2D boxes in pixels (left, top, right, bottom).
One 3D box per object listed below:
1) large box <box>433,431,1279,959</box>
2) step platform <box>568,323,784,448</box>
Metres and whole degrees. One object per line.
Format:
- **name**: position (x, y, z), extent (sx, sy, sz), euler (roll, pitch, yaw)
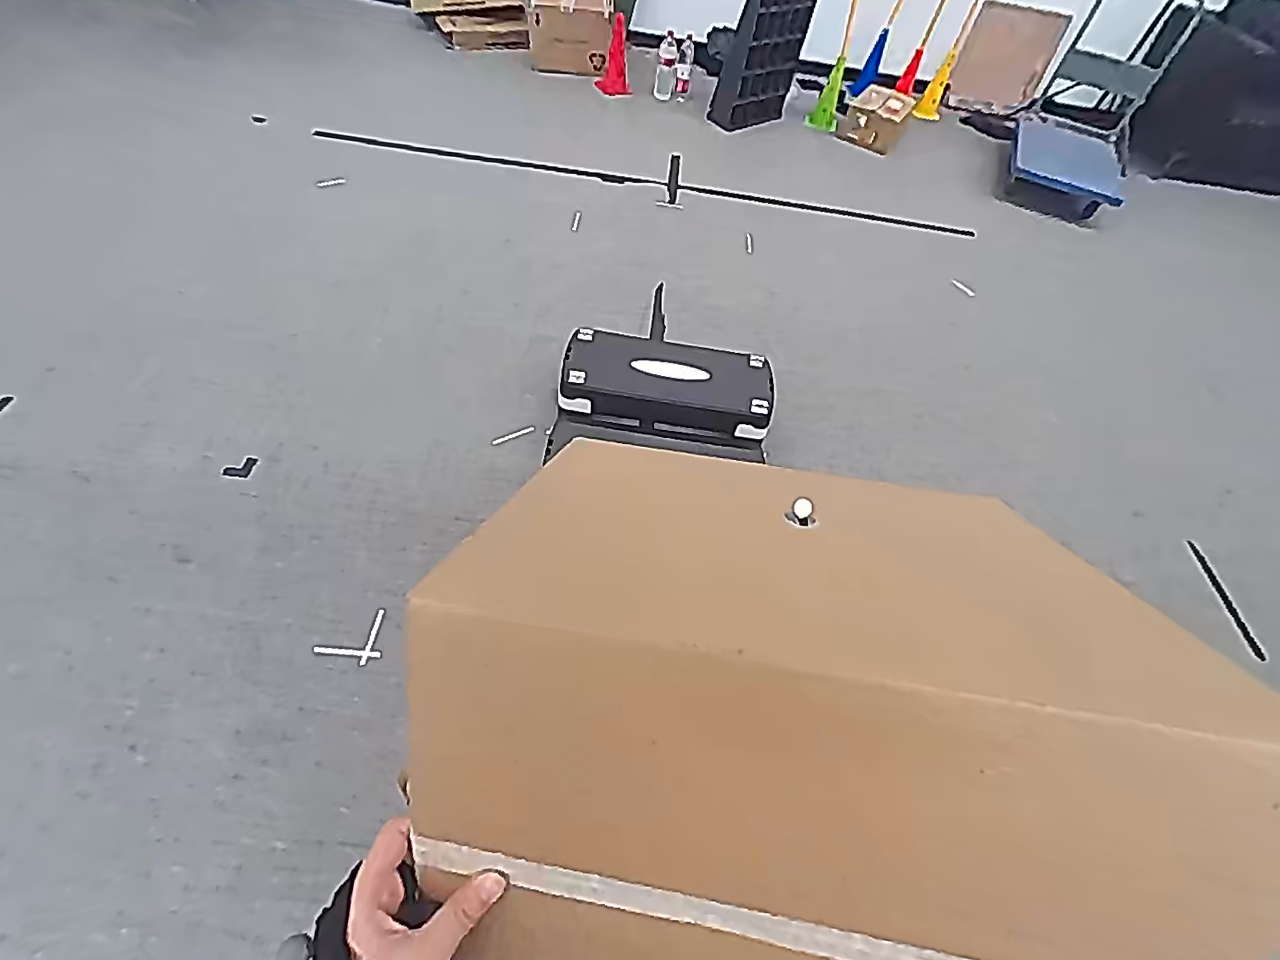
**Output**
- **large box**: position (0.107, 0.158, 0.412), extent (0.408, 0.320, 0.320), euler (7, 20, 5)
- **step platform**: position (0.117, -0.293, 1.754), extent (0.684, 0.204, 0.286), euler (13, 54, 0)
